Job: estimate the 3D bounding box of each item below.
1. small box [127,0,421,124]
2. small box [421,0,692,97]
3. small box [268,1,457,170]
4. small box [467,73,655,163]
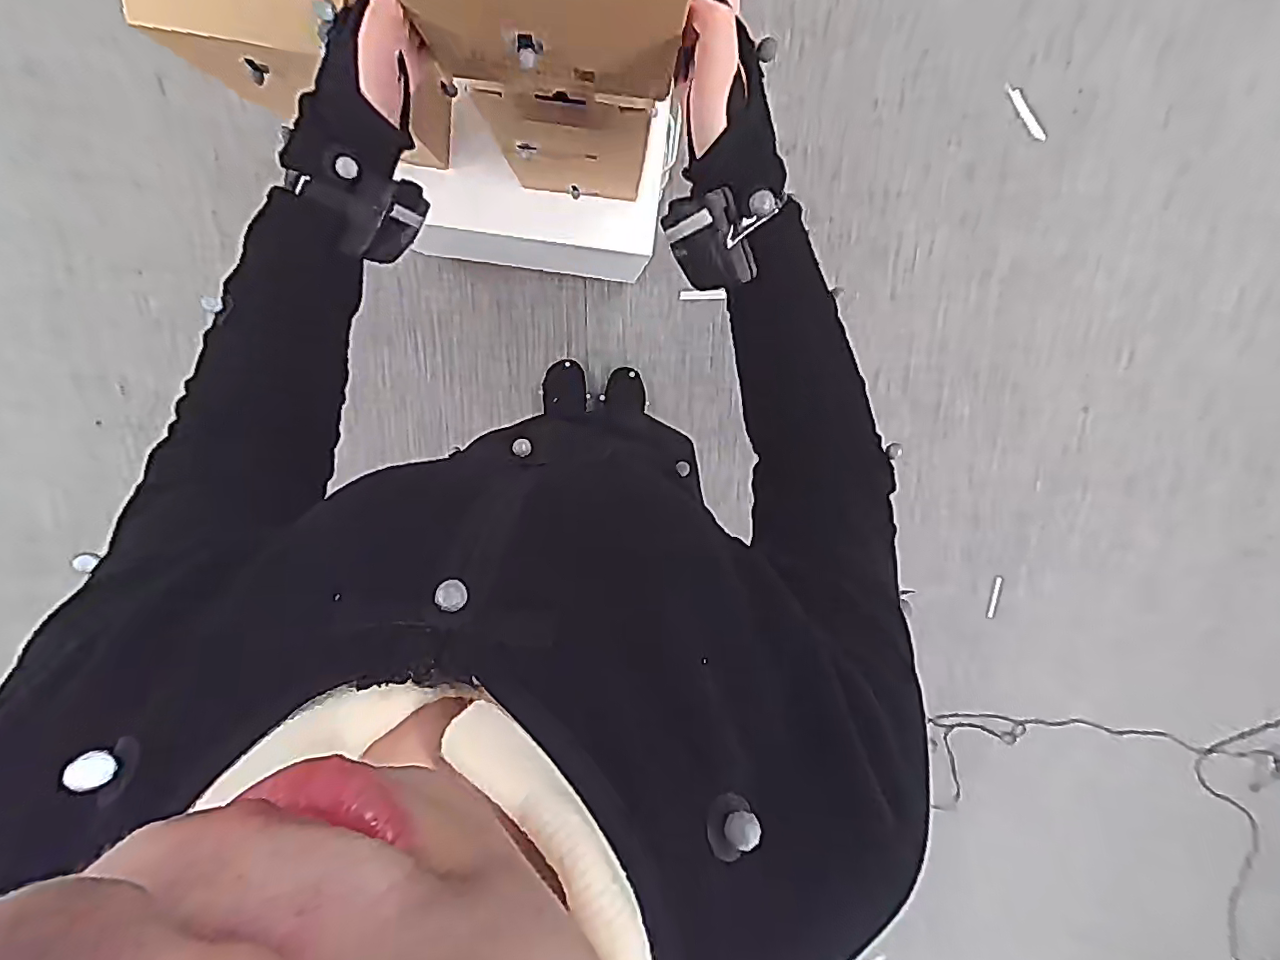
[{"bbox_3d":[-0.321,-0.458,0.500,0.179,0.176,0.168,6,106,-5],"label":"small box"},{"bbox_3d":[-0.048,-0.354,0.299,0.168,0.176,0.179,4,105,-4],"label":"small box"},{"bbox_3d":[-0.329,-0.507,0.657,0.168,0.176,0.179,7,105,-5],"label":"small box"},{"bbox_3d":[-0.062,-0.431,0.523,0.168,0.176,0.179,5,105,-4],"label":"small box"}]
